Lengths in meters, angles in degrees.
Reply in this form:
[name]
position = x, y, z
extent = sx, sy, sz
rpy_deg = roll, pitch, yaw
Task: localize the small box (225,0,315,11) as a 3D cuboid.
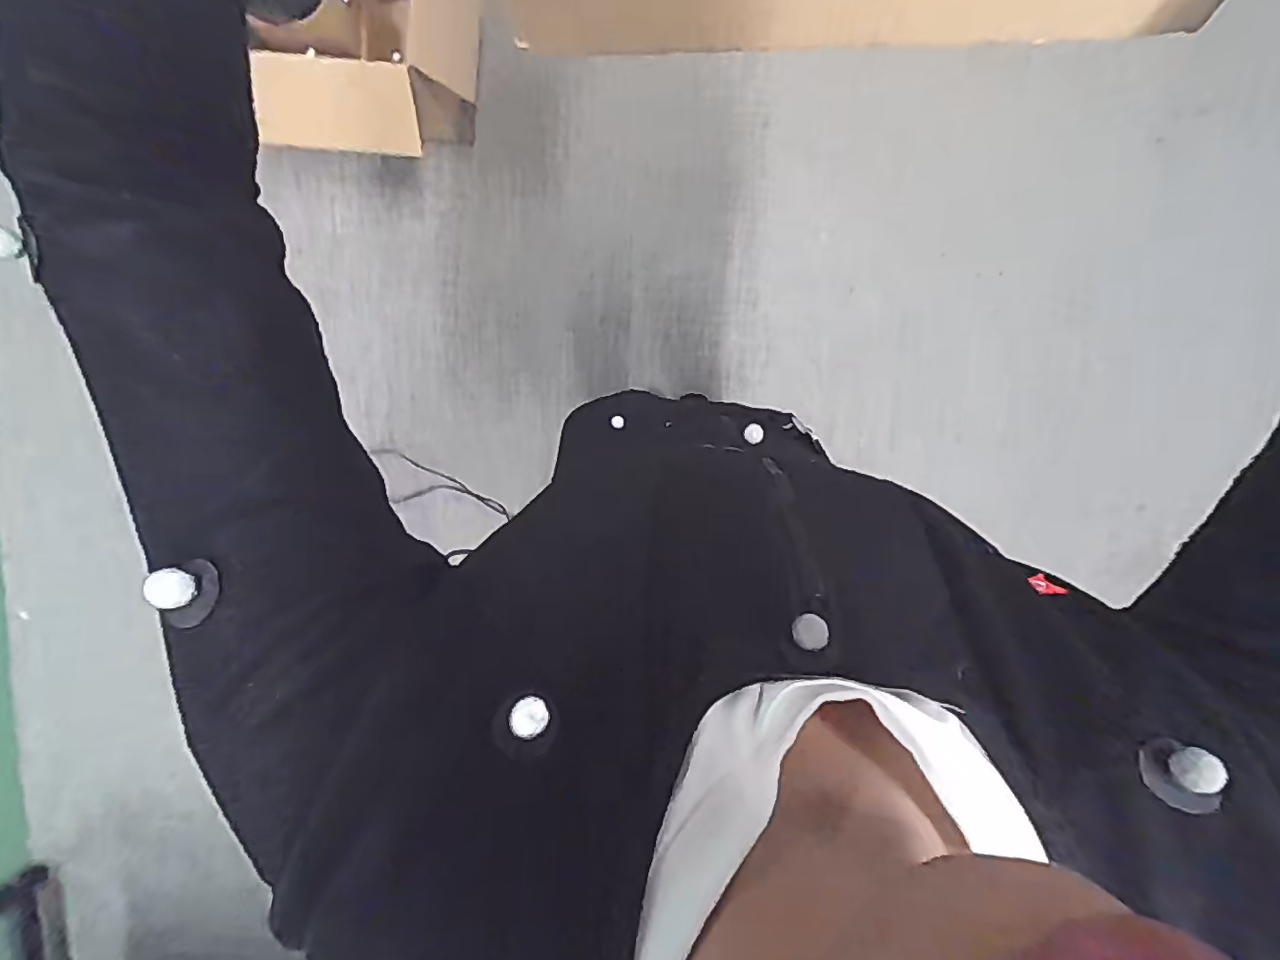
[small box]
position = -0.689, -0.950, 0.922
extent = 0.179, 0.176, 0.168
rpy_deg = 5, 99, 2
